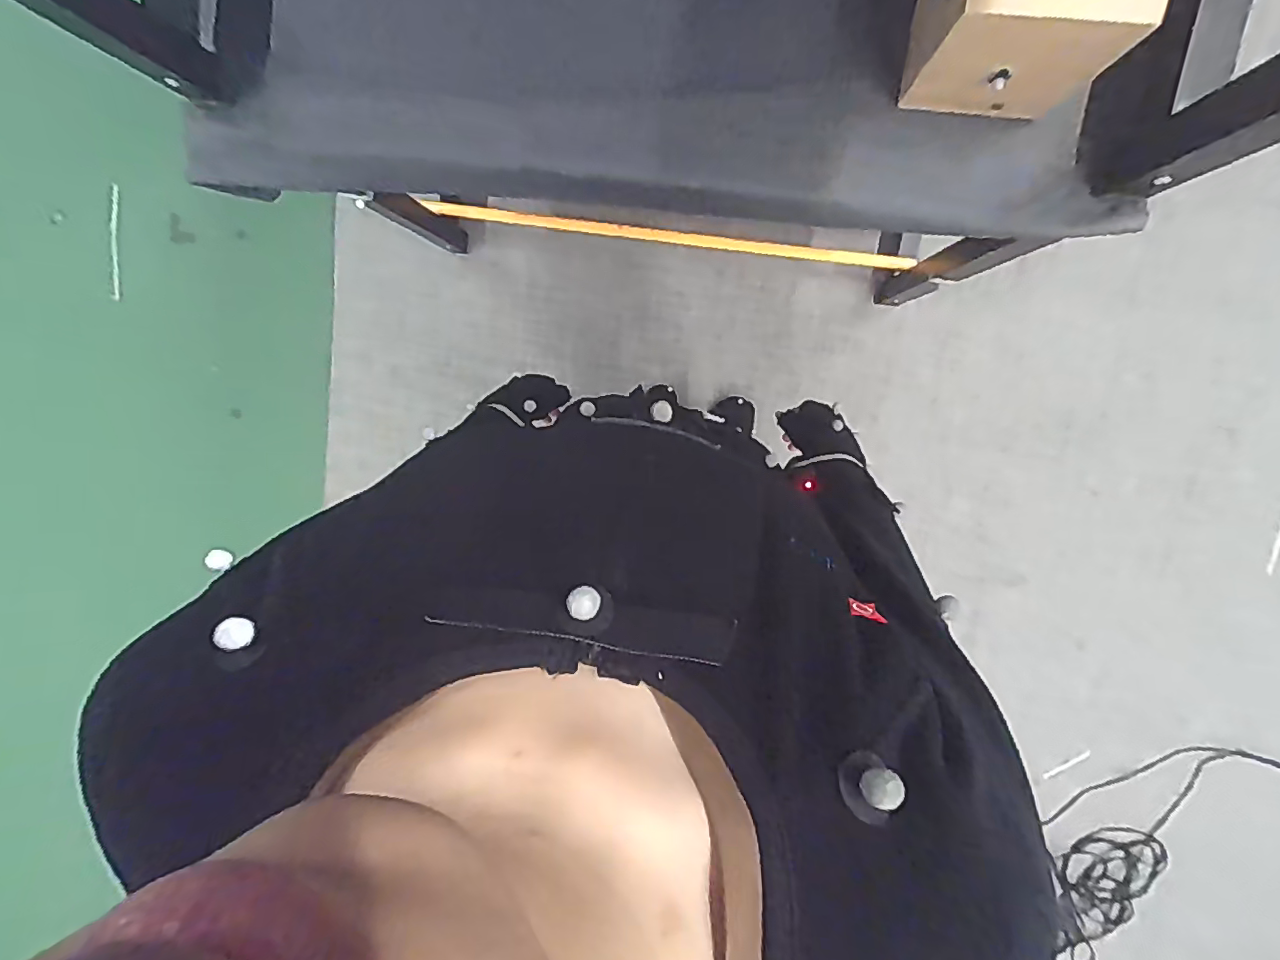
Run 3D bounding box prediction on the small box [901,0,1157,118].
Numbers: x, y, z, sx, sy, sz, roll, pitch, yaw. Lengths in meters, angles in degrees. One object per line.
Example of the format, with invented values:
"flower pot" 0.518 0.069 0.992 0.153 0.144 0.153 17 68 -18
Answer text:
"small box" 0.385 -0.500 0.542 0.168 0.176 0.179 8 99 4
